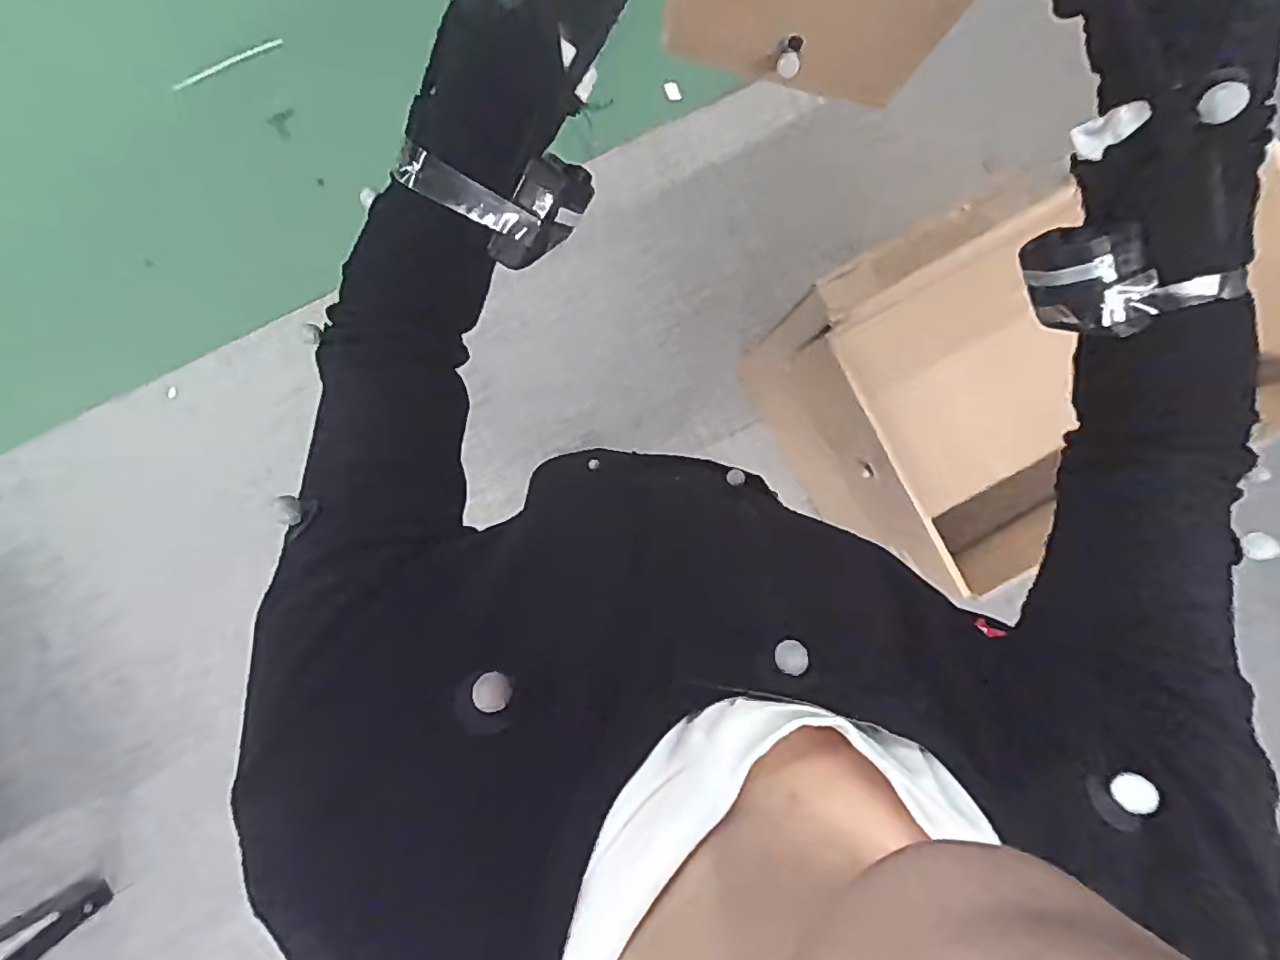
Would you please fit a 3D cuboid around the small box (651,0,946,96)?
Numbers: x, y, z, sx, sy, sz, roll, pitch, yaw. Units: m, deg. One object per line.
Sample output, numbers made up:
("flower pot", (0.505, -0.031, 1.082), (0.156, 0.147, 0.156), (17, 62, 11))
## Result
("small box", (0.110, -0.370, 0.317), (0.179, 0.176, 0.168), (11, 95, -4))
